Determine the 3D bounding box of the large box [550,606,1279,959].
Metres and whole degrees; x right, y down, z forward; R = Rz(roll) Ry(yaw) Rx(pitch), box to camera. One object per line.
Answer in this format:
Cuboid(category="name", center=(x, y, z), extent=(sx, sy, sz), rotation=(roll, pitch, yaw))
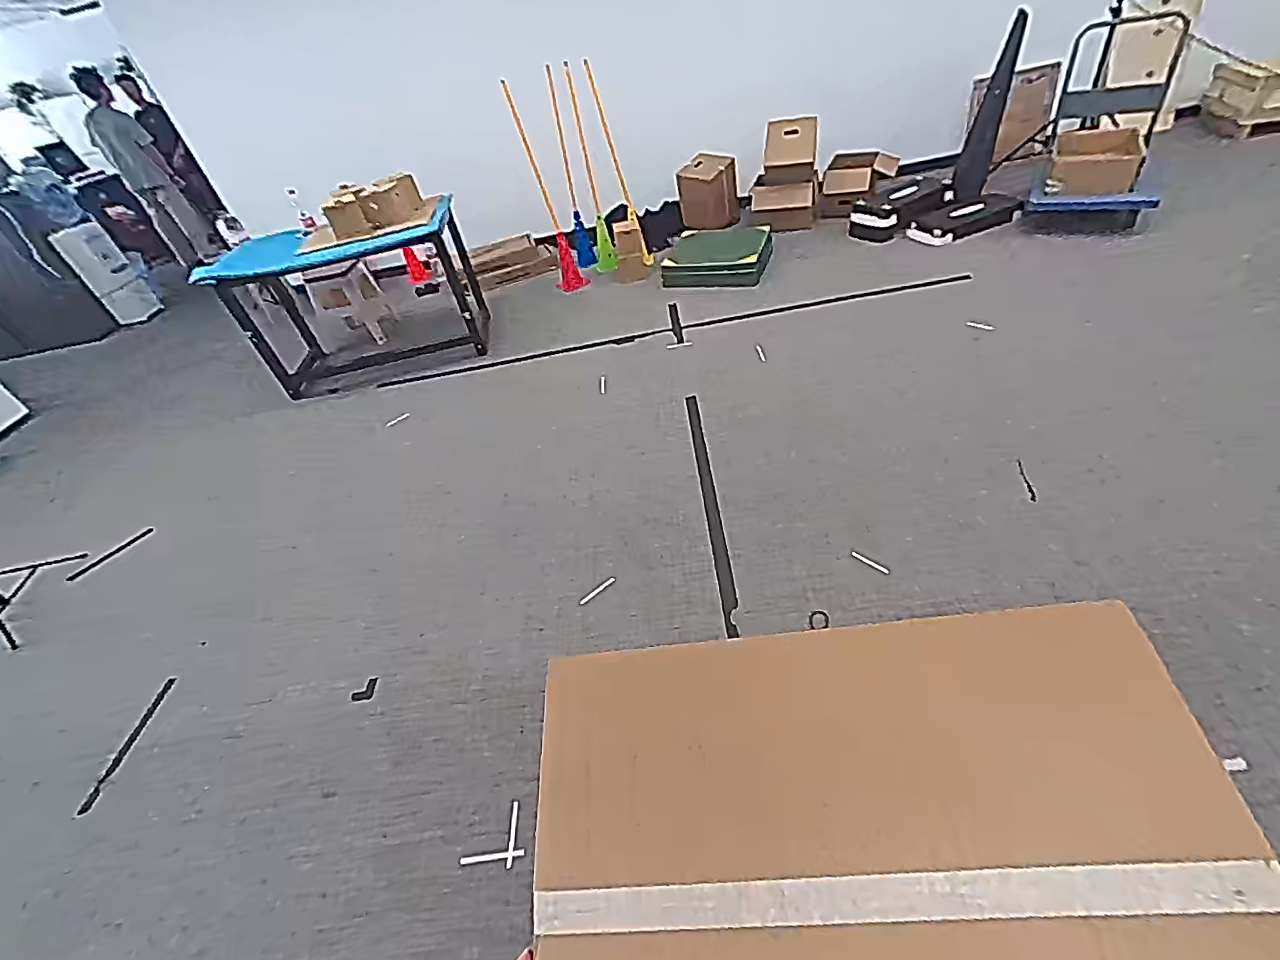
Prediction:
Cuboid(category="large box", center=(0.167, 0.327, 0.433), extent=(0.408, 0.320, 0.320), rotation=(-9, 55, 9))
